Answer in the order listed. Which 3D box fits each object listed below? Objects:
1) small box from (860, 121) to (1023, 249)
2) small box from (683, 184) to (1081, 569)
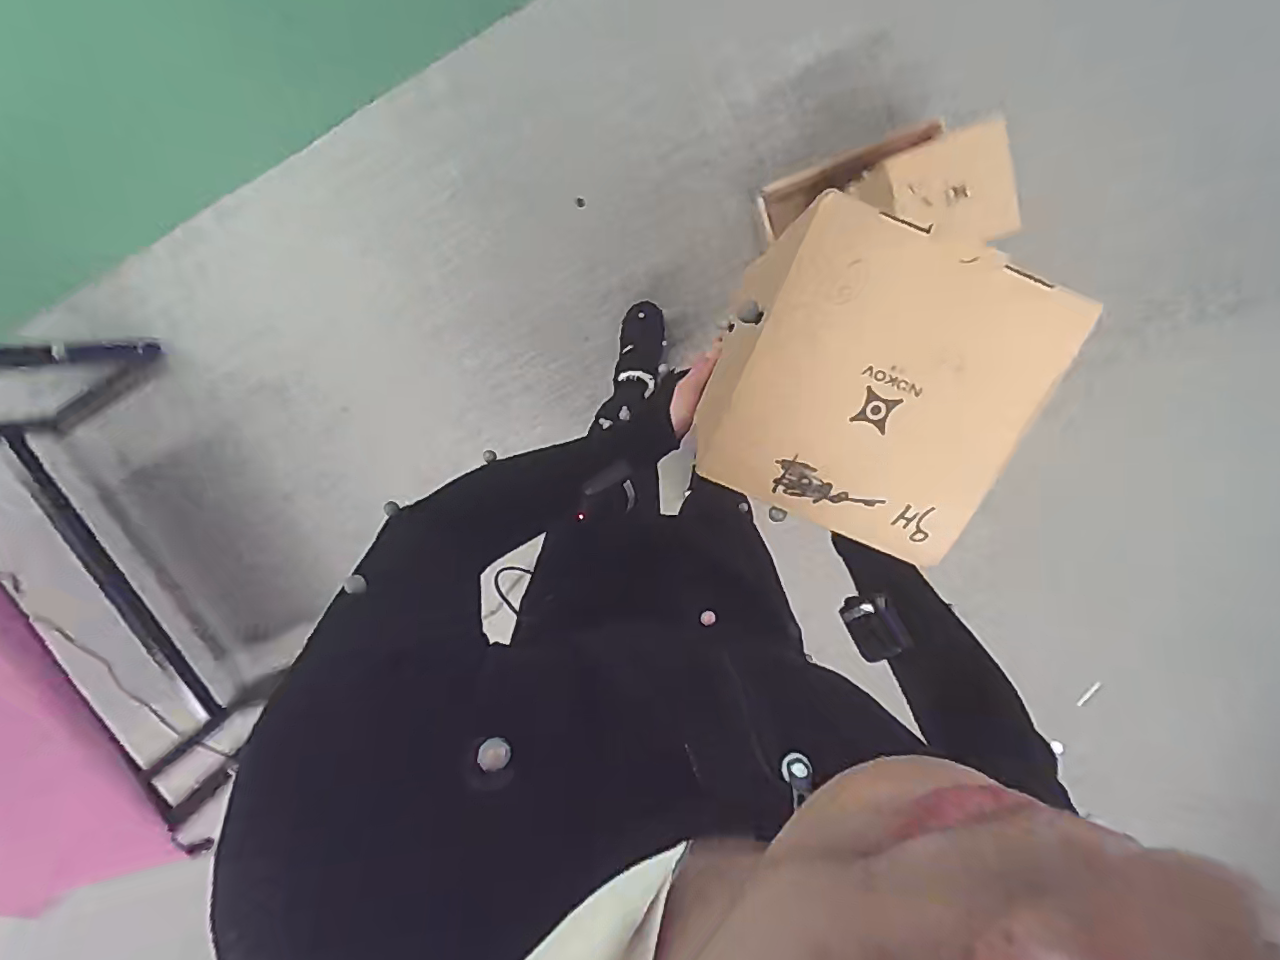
[{"bbox_3d":[0.498,-0.462,0.912,0.179,0.176,0.168,-16,104,10],"label":"small box"},{"bbox_3d":[0.137,-0.073,0.385,0.168,0.176,0.179,22,108,0],"label":"small box"}]
